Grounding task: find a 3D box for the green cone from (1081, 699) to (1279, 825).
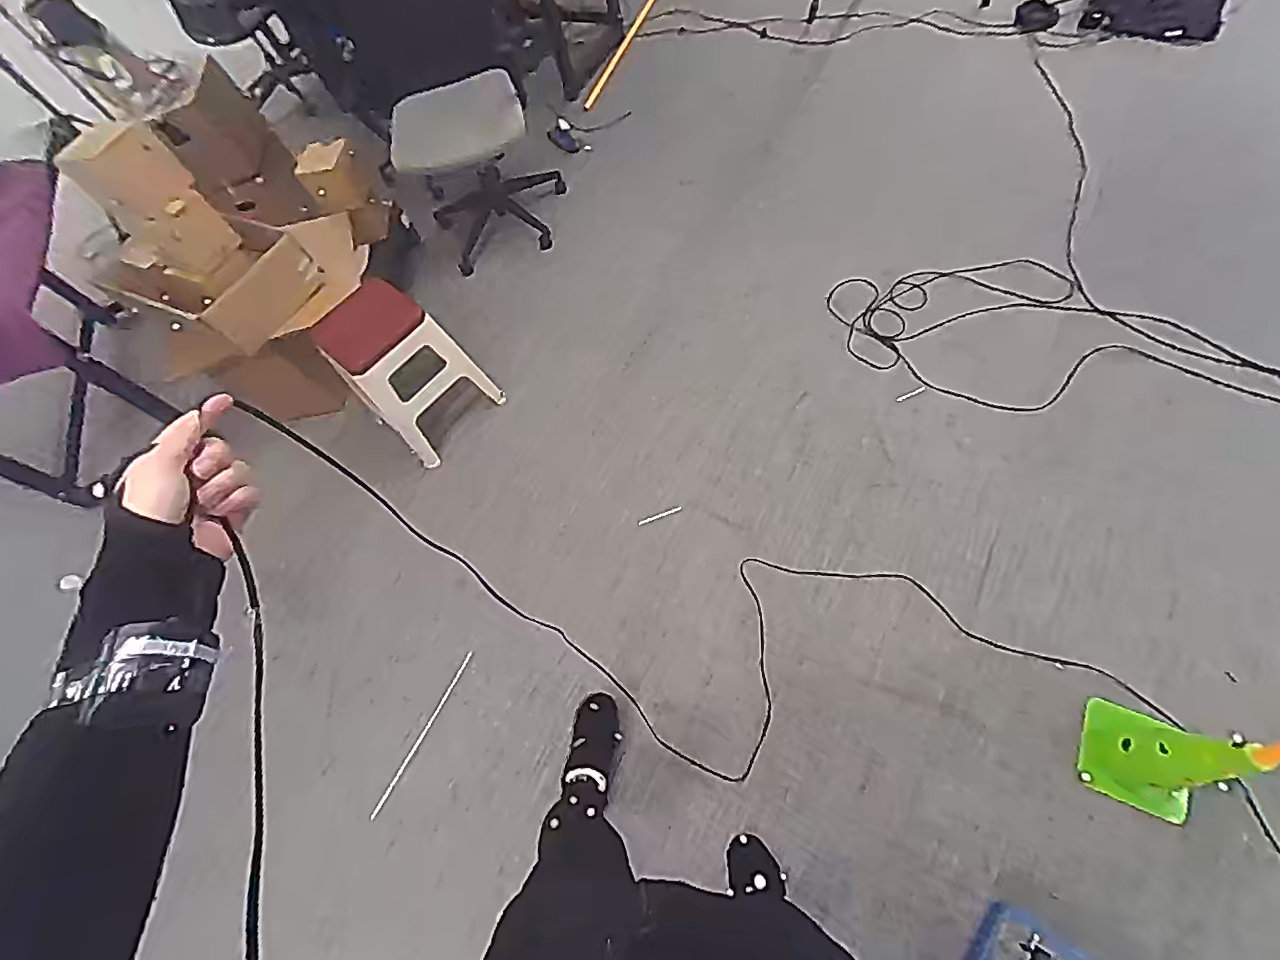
[{"bbox_3d":[1.067,0.536,1.044,0.200,0.368,0.202,18,67,20],"label":"green cone"}]
